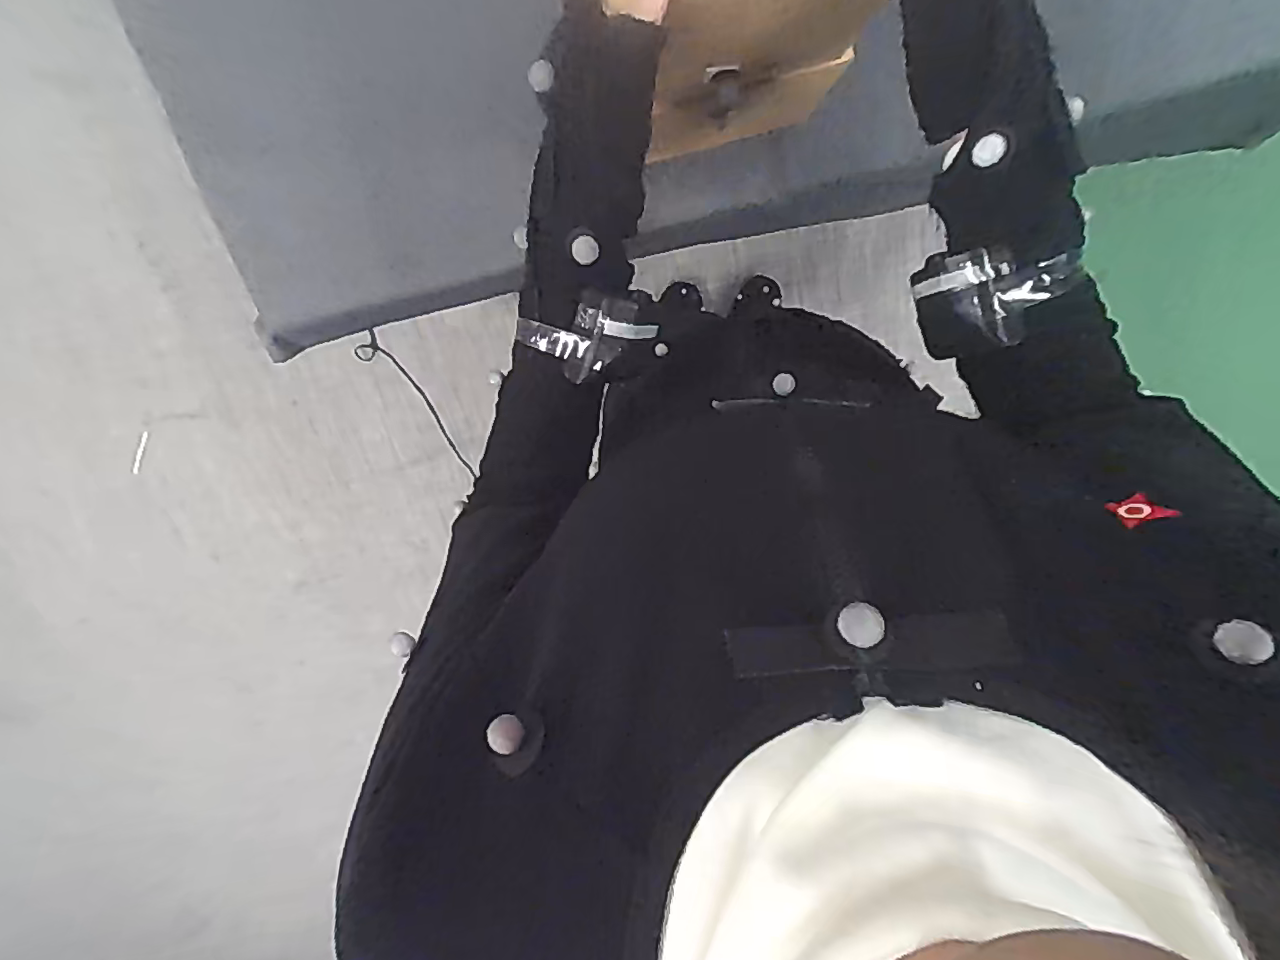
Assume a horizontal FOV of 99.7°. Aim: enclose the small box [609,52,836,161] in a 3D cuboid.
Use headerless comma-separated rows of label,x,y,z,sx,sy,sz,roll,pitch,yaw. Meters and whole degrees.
small box,0.058,-0.410,0.486,0.179,0.176,0.168,-11,110,5
